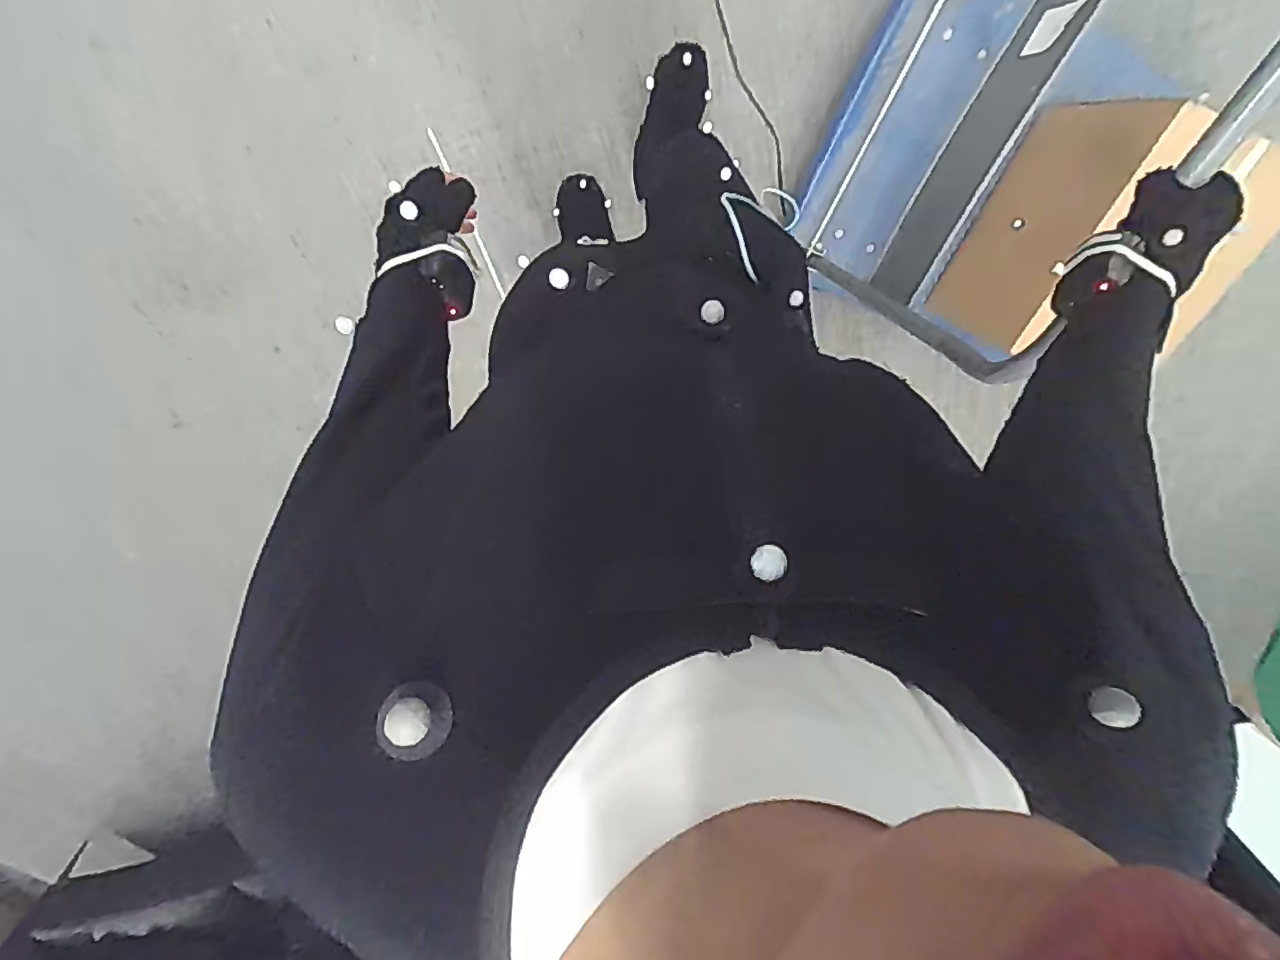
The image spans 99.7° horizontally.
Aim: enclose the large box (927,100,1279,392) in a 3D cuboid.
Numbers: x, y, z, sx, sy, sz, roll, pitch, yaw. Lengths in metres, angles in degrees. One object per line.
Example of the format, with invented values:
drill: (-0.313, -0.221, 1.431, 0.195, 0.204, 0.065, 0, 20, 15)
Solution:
large box: (0.858, -0.440, 1.045, 0.320, 0.320, 0.408, 13, 120, -14)
